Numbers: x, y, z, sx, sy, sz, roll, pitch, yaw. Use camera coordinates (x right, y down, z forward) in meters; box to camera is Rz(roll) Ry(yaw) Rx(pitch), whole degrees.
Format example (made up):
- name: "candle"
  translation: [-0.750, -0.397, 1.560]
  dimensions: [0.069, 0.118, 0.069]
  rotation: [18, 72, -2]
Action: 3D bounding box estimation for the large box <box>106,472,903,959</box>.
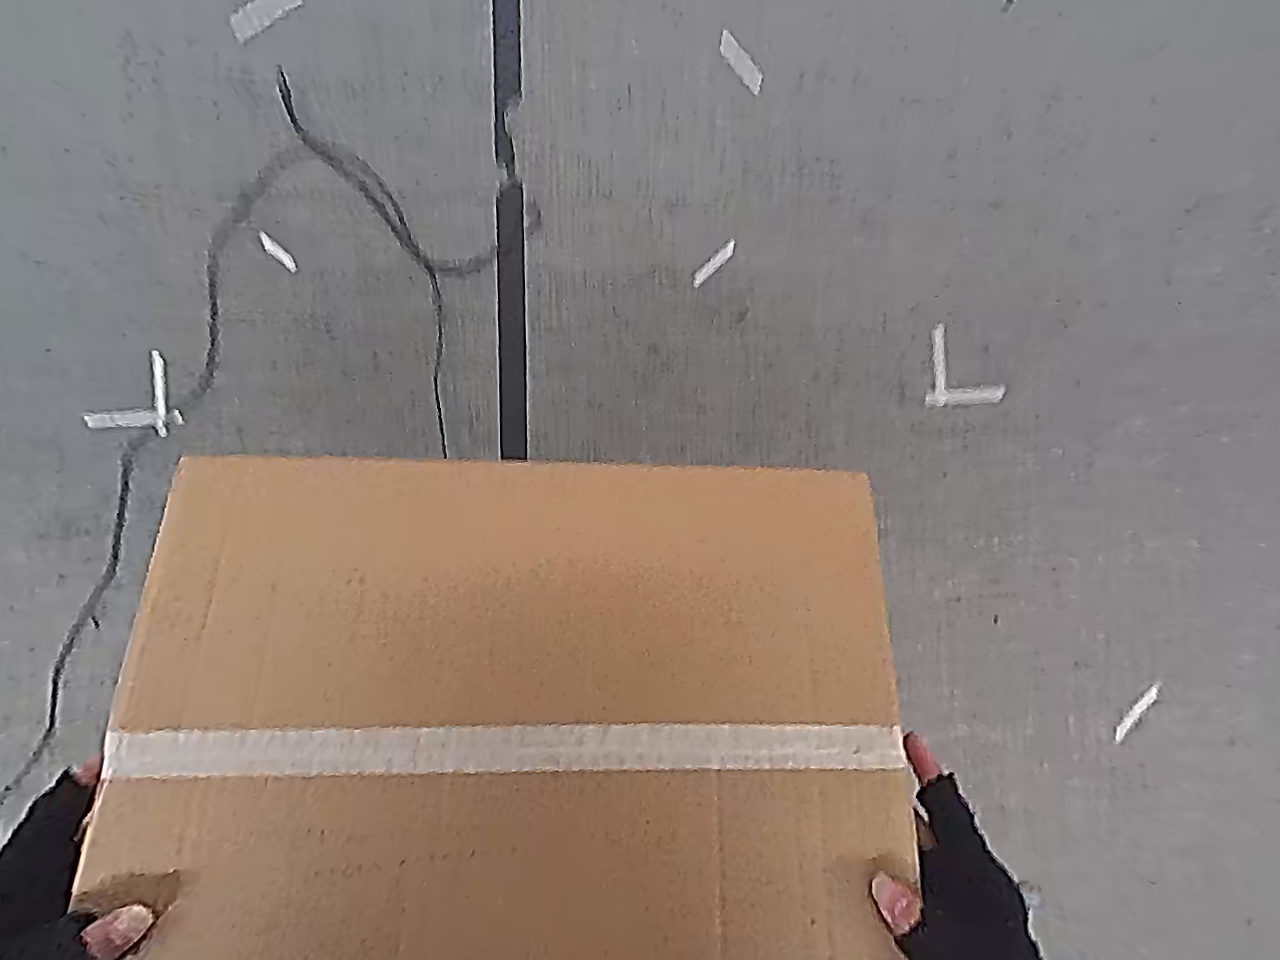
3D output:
- name: "large box"
  translation: [-0.070, 0.188, 0.444]
  dimensions: [0.408, 0.320, 0.320]
  rotation: [1, 74, -3]
